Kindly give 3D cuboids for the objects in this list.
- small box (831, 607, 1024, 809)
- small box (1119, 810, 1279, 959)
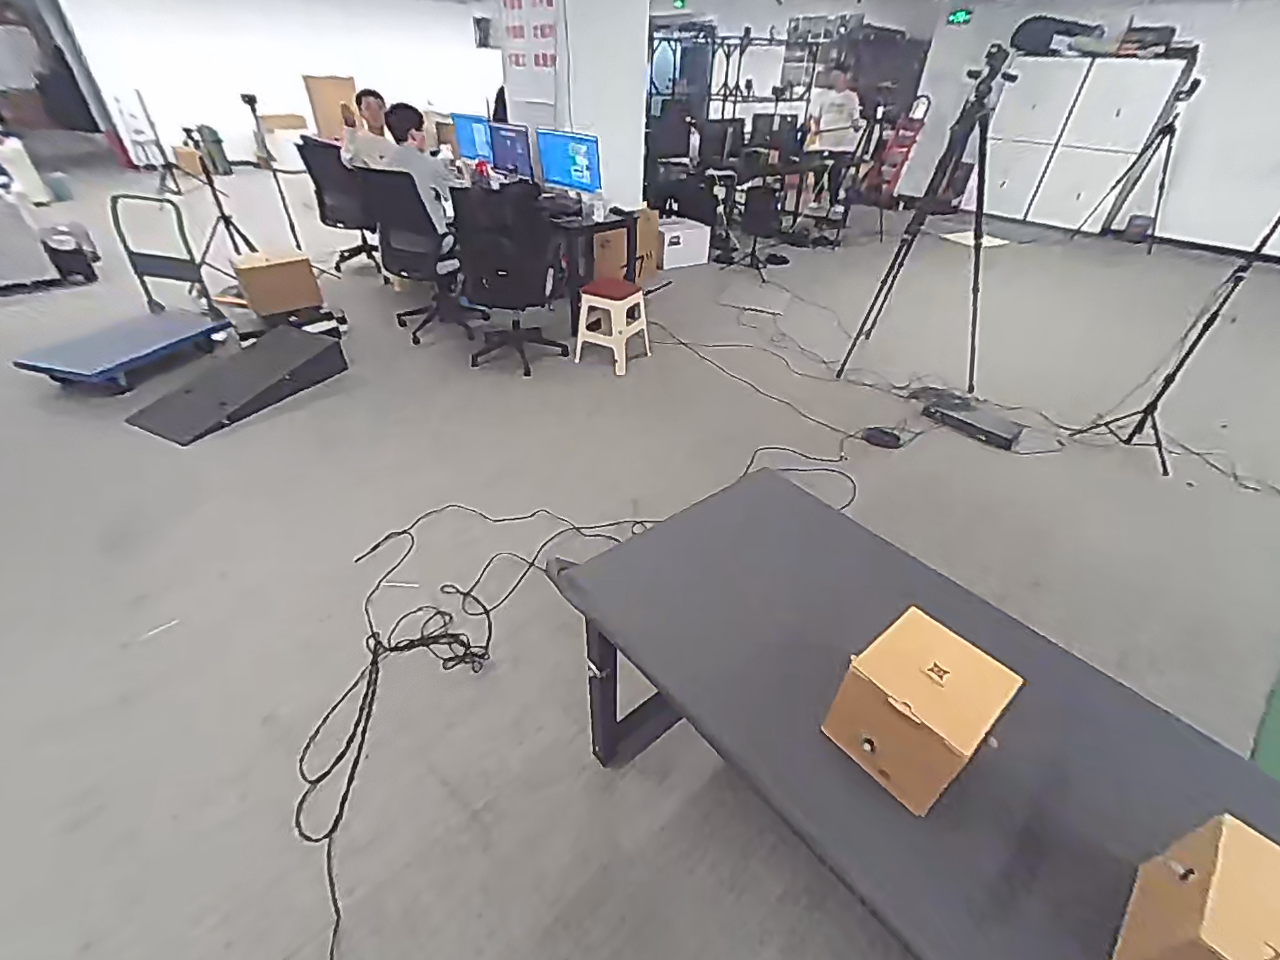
[{"bbox_3d":[0.407,0.329,0.792,0.179,0.176,0.168,-26,45,-32],"label":"small box"},{"bbox_3d":[0.652,0.502,0.562,0.179,0.176,0.168,-27,44,-33],"label":"small box"}]
